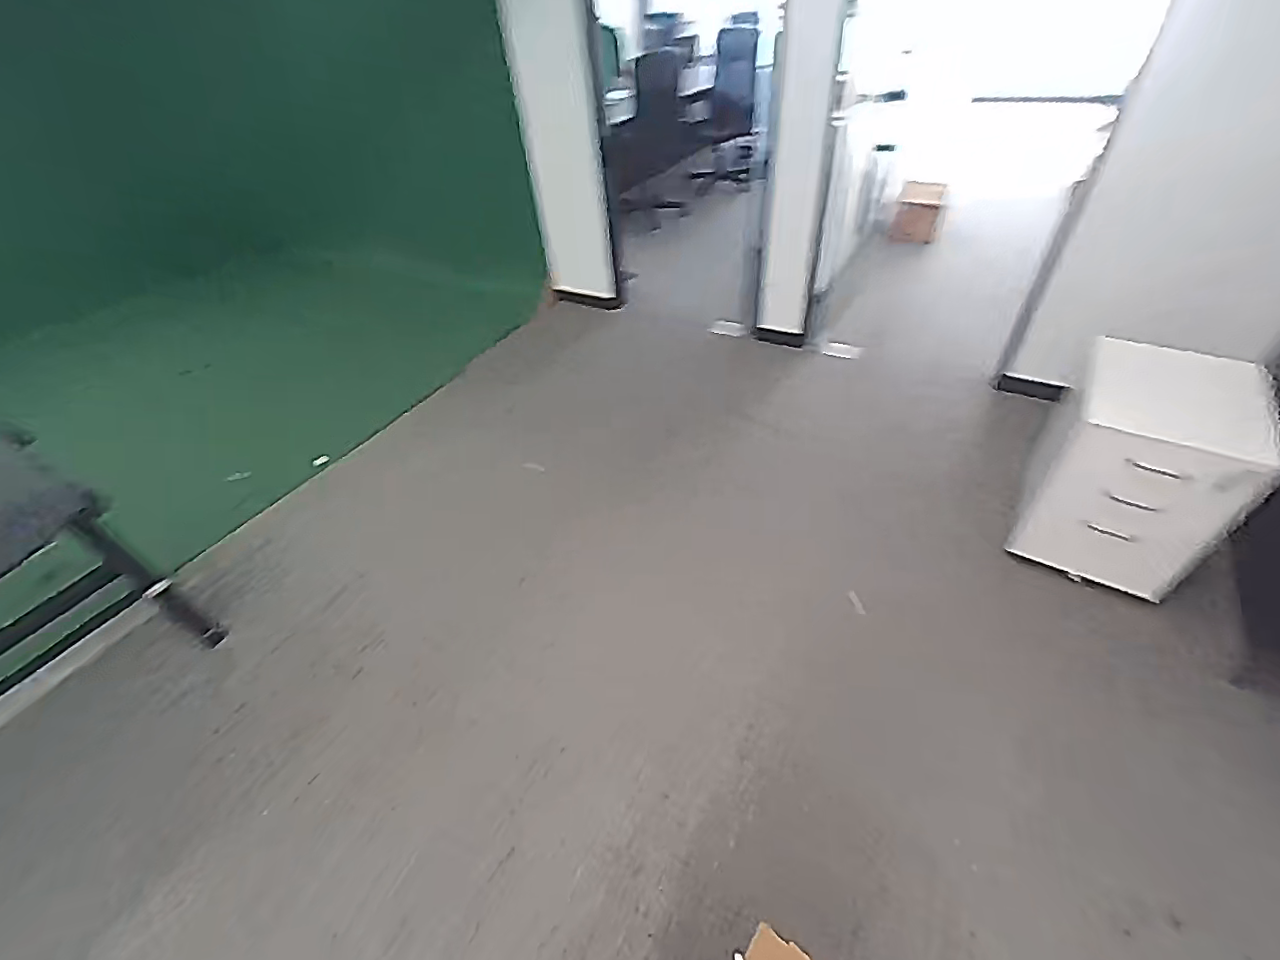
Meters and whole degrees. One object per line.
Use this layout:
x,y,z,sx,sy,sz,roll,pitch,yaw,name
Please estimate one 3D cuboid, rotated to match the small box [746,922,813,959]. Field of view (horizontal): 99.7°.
0.270,1.022,1.053,0.168,0.176,0.179,26,51,29,small box
